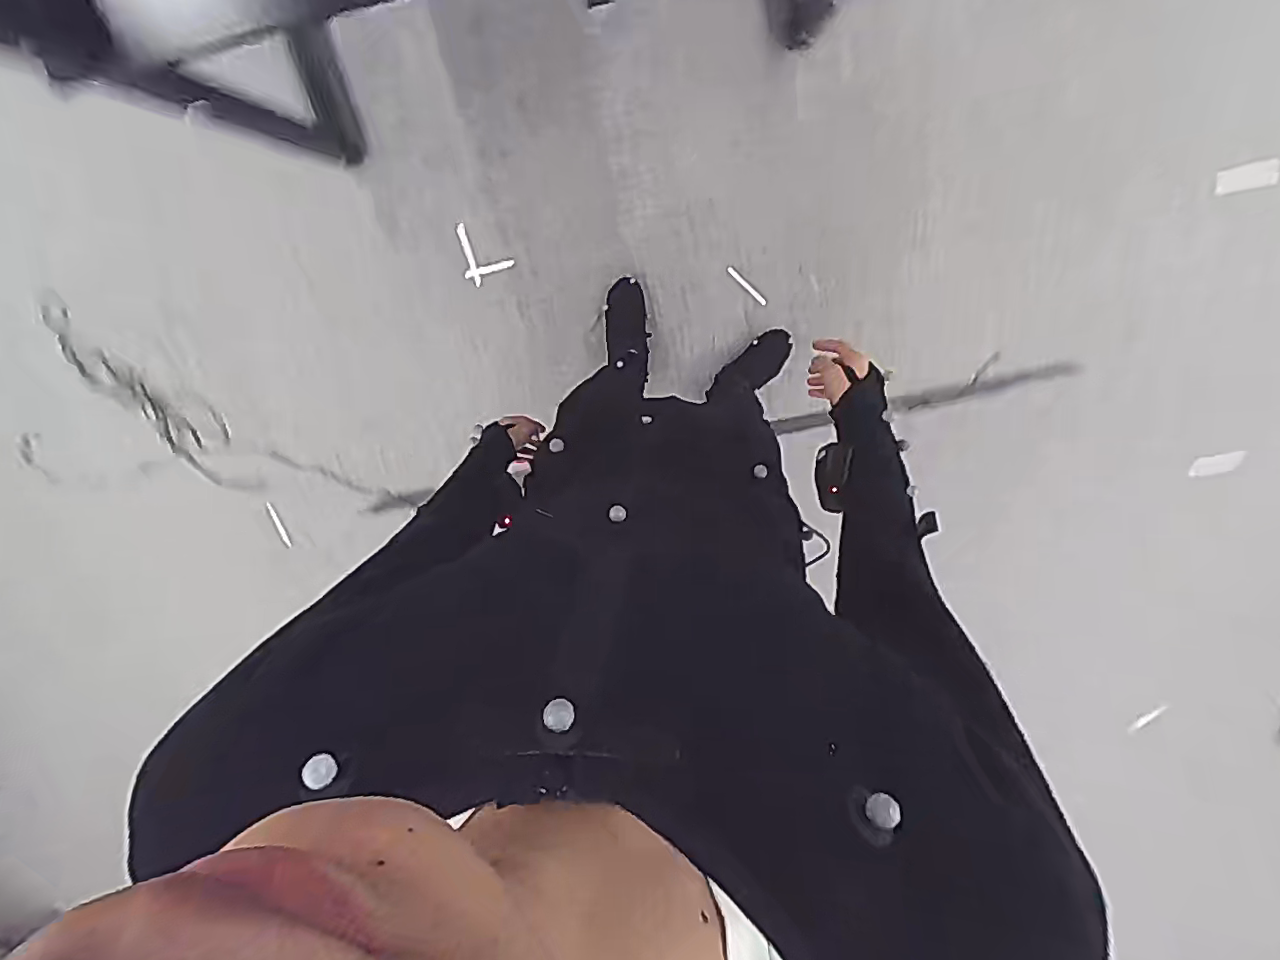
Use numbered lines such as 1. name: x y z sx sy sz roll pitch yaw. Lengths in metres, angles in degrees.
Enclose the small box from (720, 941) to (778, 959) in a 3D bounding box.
1. small box: 0.333 1.485 1.568 0.168 0.176 0.179 -10 113 4
